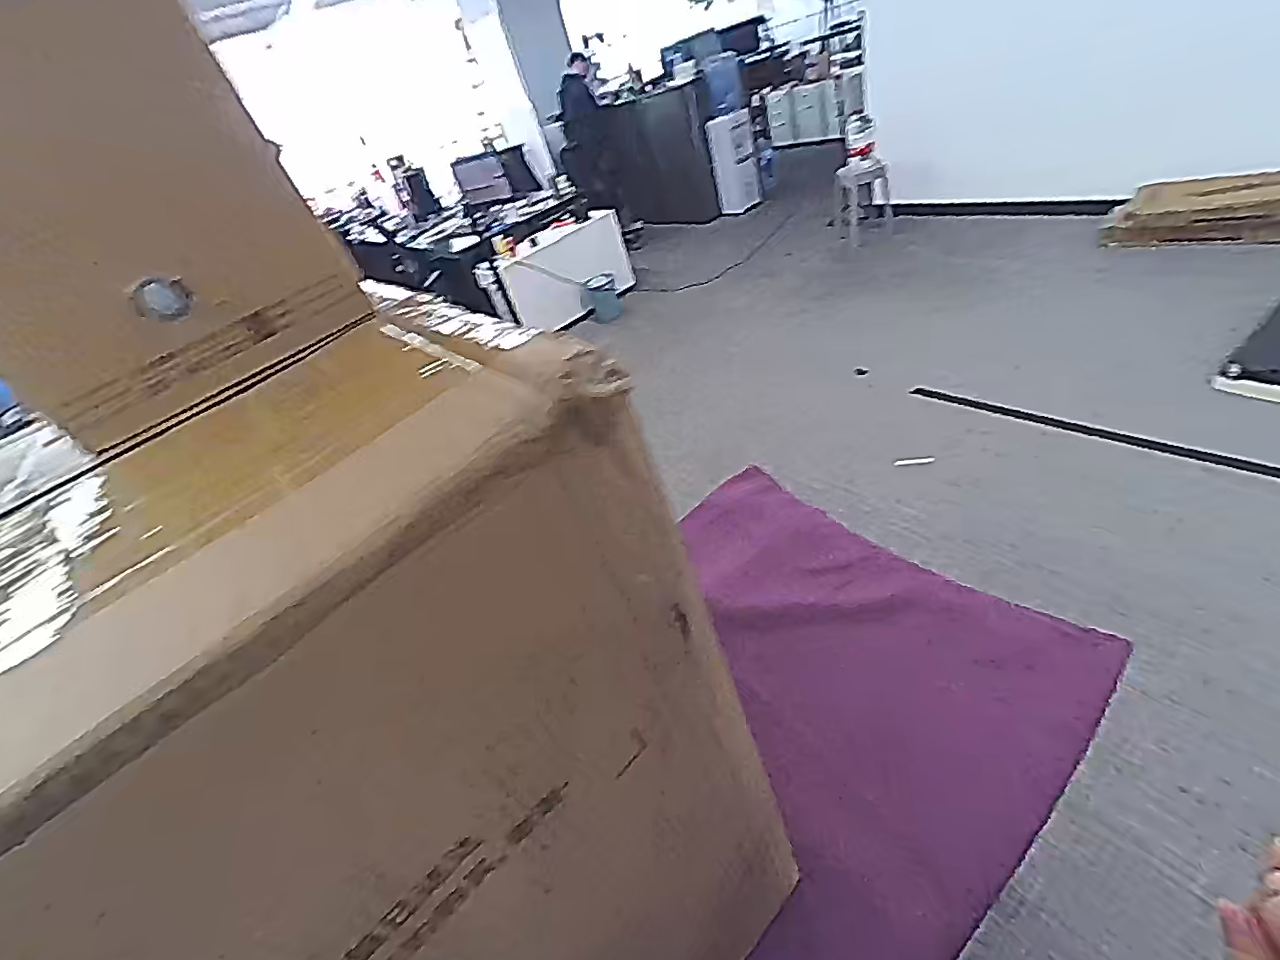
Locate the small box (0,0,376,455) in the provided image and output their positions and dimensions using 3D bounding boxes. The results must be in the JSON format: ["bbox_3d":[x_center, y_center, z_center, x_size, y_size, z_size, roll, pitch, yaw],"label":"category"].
[{"bbox_3d":[-0.293,-0.139,0.322,0.168,0.176,0.179,-38,40,-20],"label":"small box"}]
